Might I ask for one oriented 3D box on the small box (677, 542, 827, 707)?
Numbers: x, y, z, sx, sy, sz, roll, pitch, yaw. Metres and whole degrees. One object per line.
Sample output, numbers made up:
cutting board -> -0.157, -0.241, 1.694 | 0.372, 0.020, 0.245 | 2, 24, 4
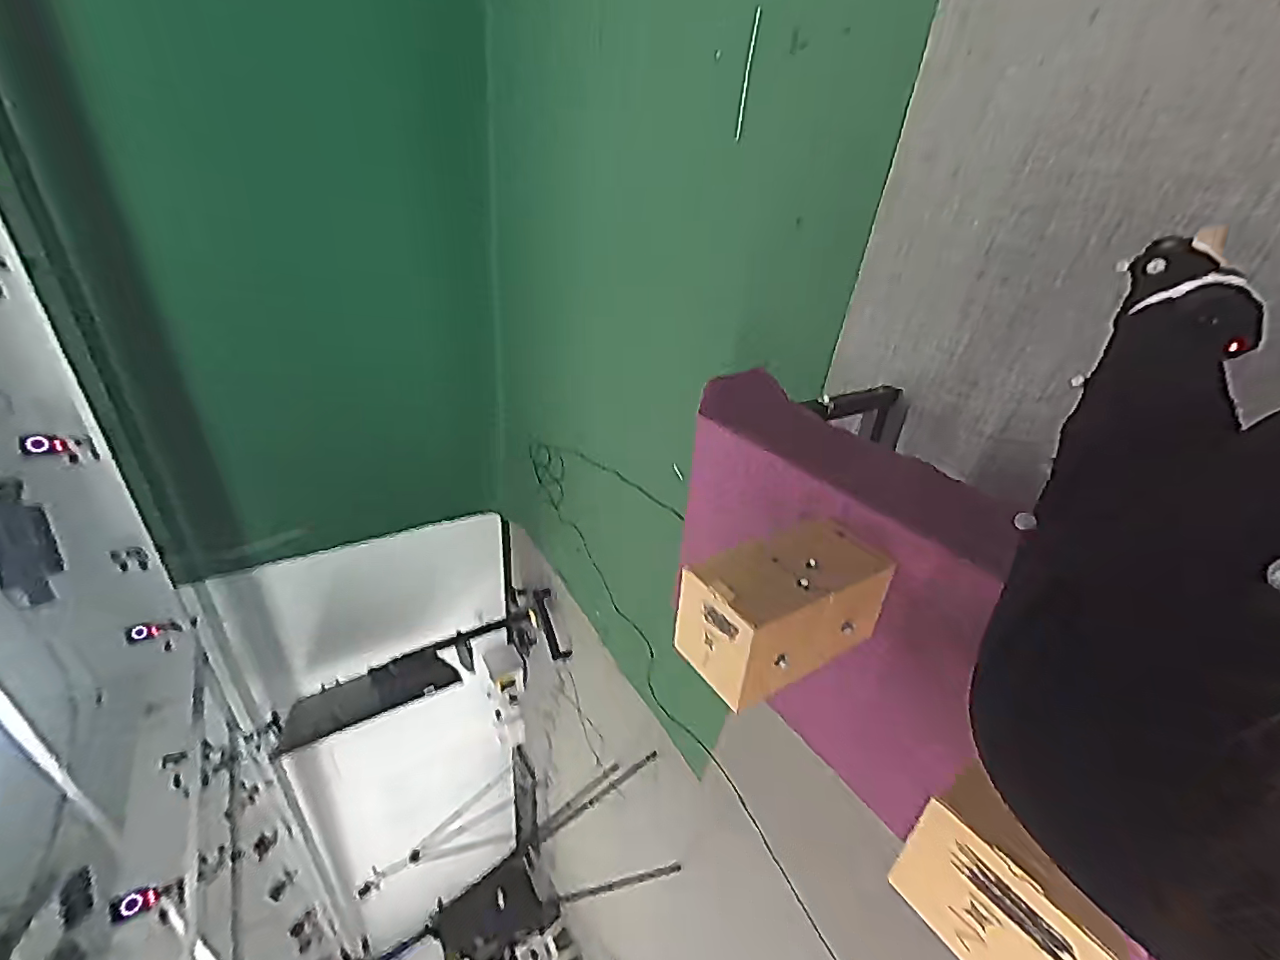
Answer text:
small box -> 0.183, 0.227, 0.898 | 0.168, 0.176, 0.179 | 38, 133, 46

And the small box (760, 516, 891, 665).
small box -> 0.322, 0.192, 0.980 | 0.168, 0.176, 0.179 | 37, 133, 45
